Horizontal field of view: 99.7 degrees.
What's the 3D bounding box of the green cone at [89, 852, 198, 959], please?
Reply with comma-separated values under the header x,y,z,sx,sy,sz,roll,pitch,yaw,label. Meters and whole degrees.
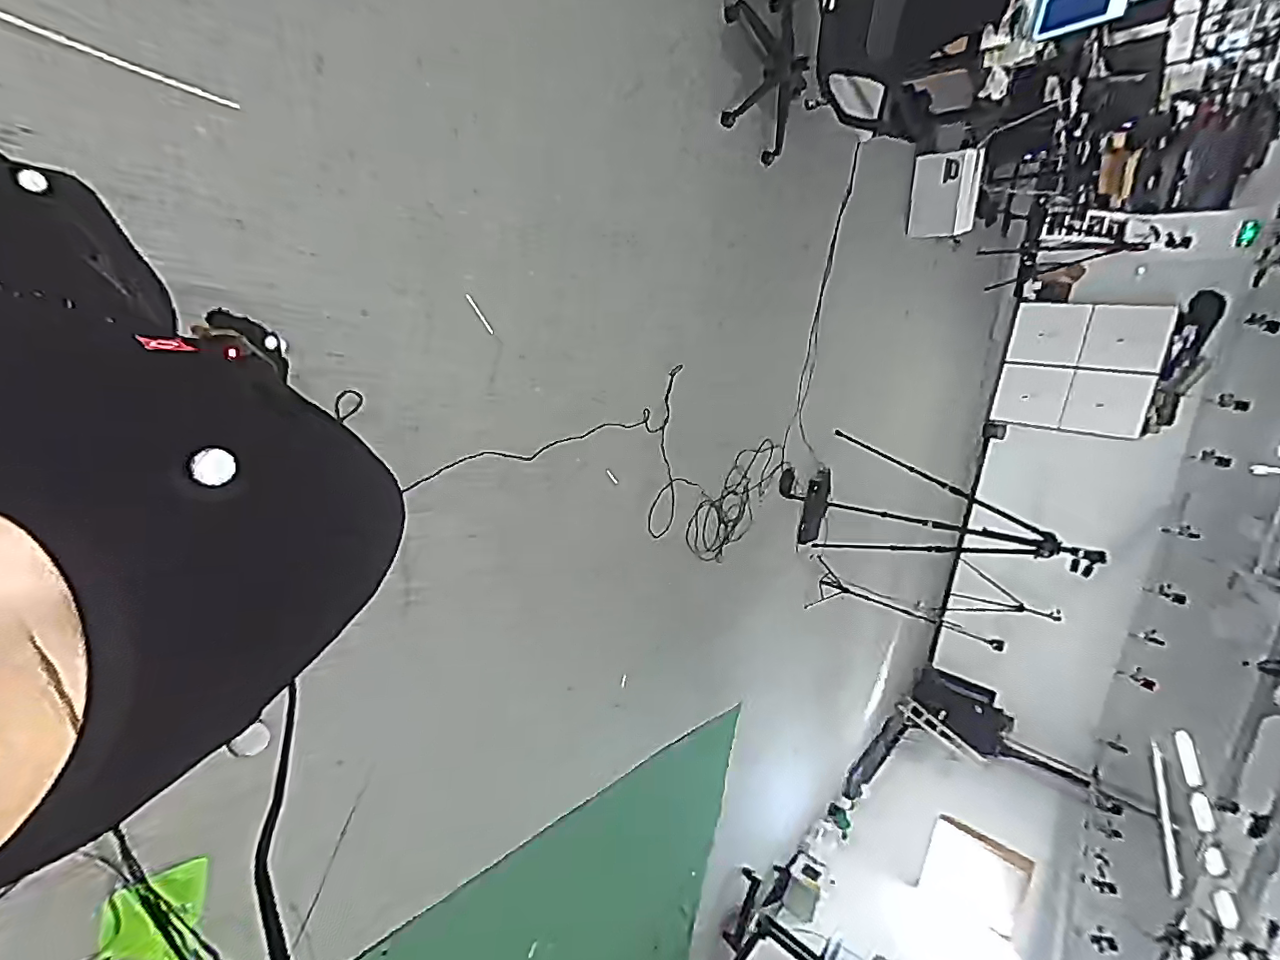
x,y,z,sx,sy,sz,roll,pitch,yaw,label
-1.113,1.102,1.252,0.200,0.368,0.202,1,102,-51,green cone
